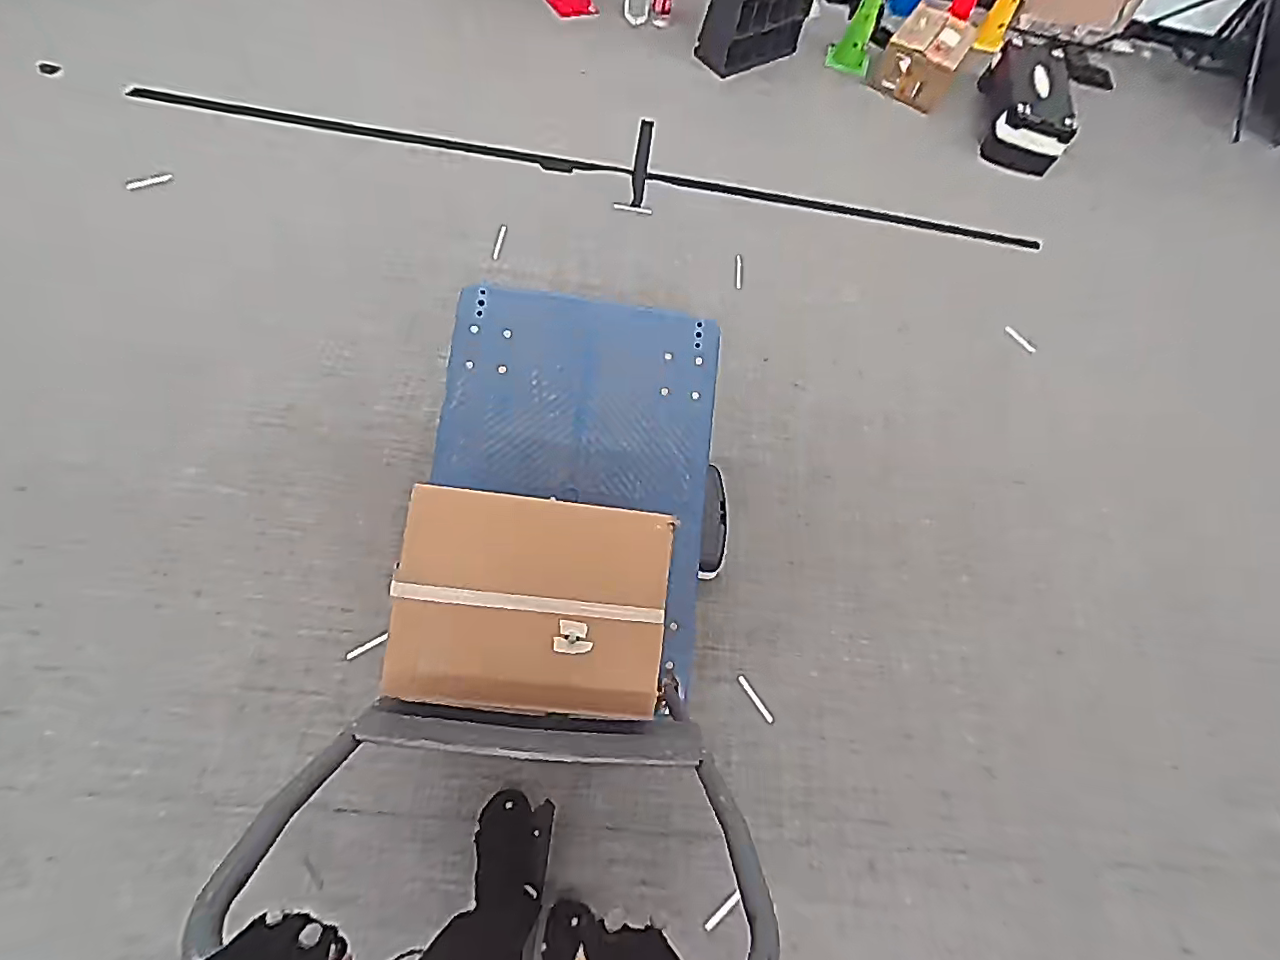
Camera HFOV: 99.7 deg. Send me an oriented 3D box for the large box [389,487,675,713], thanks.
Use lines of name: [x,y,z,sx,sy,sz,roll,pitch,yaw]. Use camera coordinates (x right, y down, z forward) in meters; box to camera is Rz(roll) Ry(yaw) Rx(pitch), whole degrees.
large box: [-0.175,0.200,0.967,0.408,0.320,0.320,7,84,-7]
